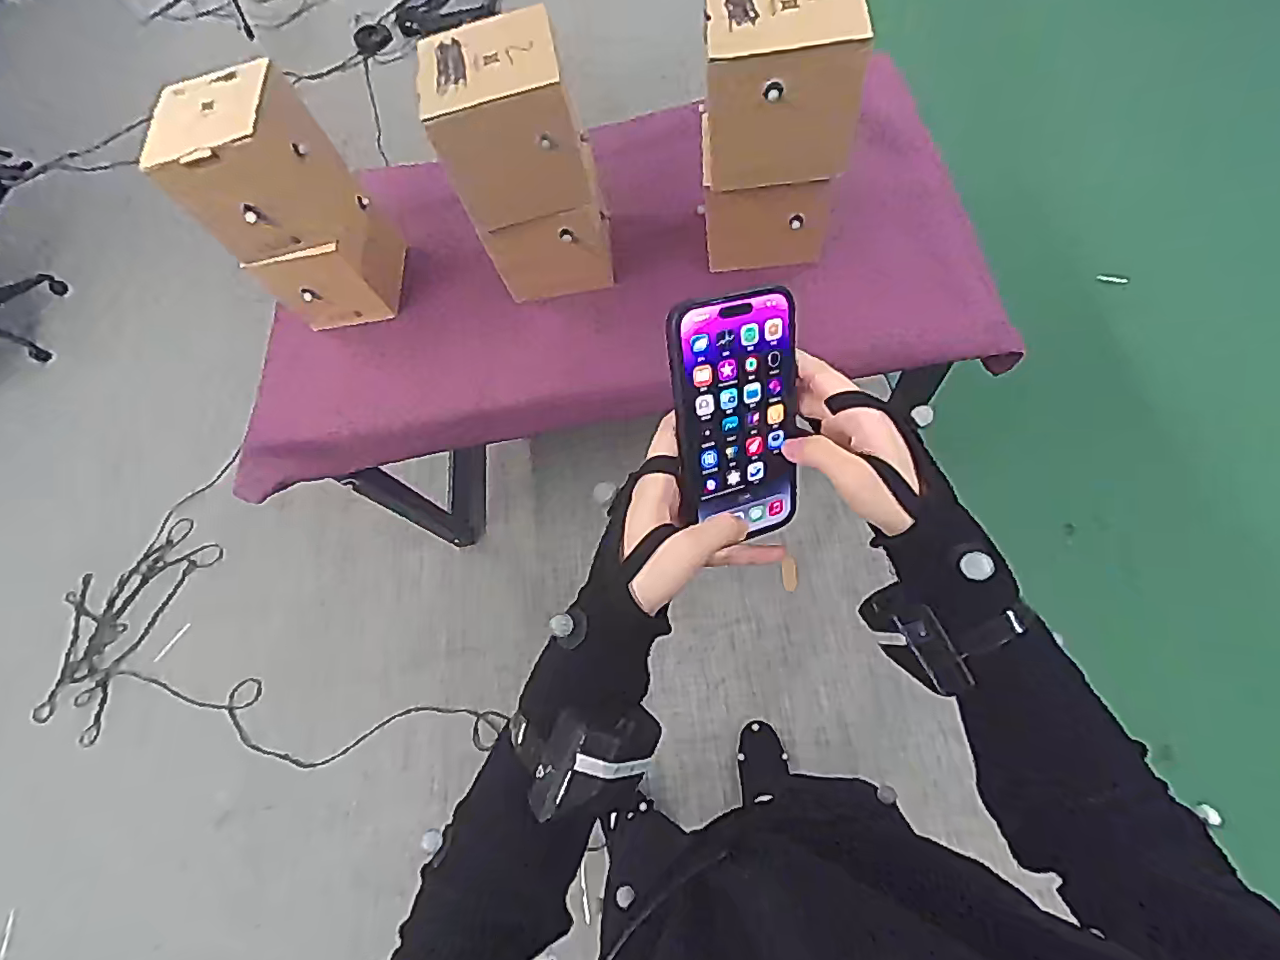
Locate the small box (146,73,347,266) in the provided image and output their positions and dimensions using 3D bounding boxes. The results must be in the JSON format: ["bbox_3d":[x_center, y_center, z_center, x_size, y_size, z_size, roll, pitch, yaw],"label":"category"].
[{"bbox_3d":[-0.565,-0.445,0.803,0.168,0.176,0.179,-12,66,5],"label":"small box"}]

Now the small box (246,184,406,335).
[{"bbox_3d":[-0.535,-0.373,0.948,0.168,0.176,0.179,-7,66,8],"label":"small box"}]

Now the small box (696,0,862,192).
[{"bbox_3d":[0.166,-0.495,0.685,0.179,0.176,0.168,-3,66,9],"label":"small box"}]

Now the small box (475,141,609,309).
[{"bbox_3d":[-0.151,-0.409,0.888,0.179,0.176,0.168,-8,66,7],"label":"small box"}]

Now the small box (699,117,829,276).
[{"bbox_3d":[0.185,-0.444,0.840,0.179,0.176,0.168,-3,66,11],"label":"small box"}]
